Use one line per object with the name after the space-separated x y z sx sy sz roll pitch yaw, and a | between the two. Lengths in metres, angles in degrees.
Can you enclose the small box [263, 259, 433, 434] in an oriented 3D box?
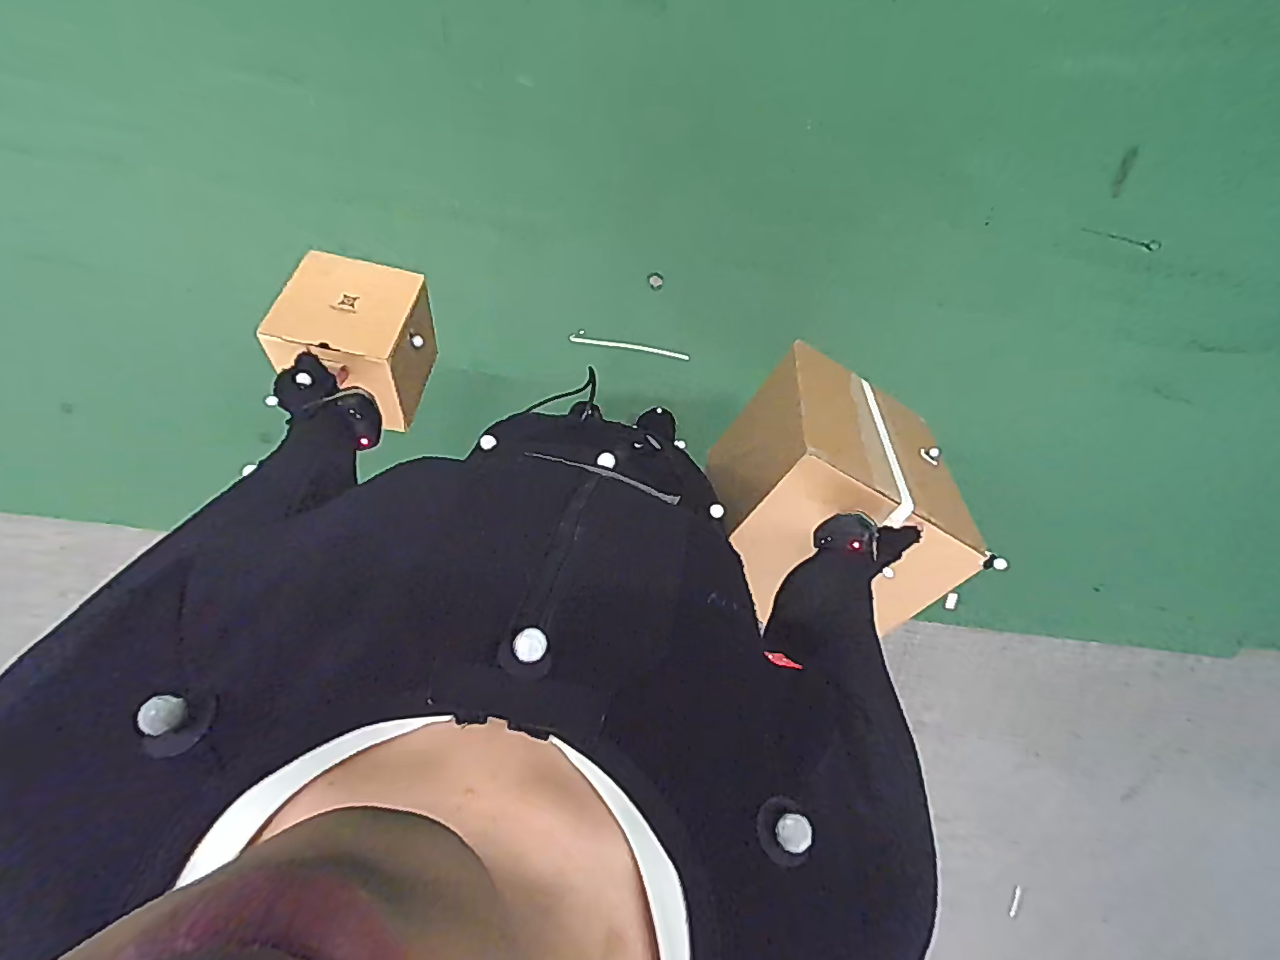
-0.426 -0.198 0.828 0.168 0.176 0.179 10 58 -7 | small box
